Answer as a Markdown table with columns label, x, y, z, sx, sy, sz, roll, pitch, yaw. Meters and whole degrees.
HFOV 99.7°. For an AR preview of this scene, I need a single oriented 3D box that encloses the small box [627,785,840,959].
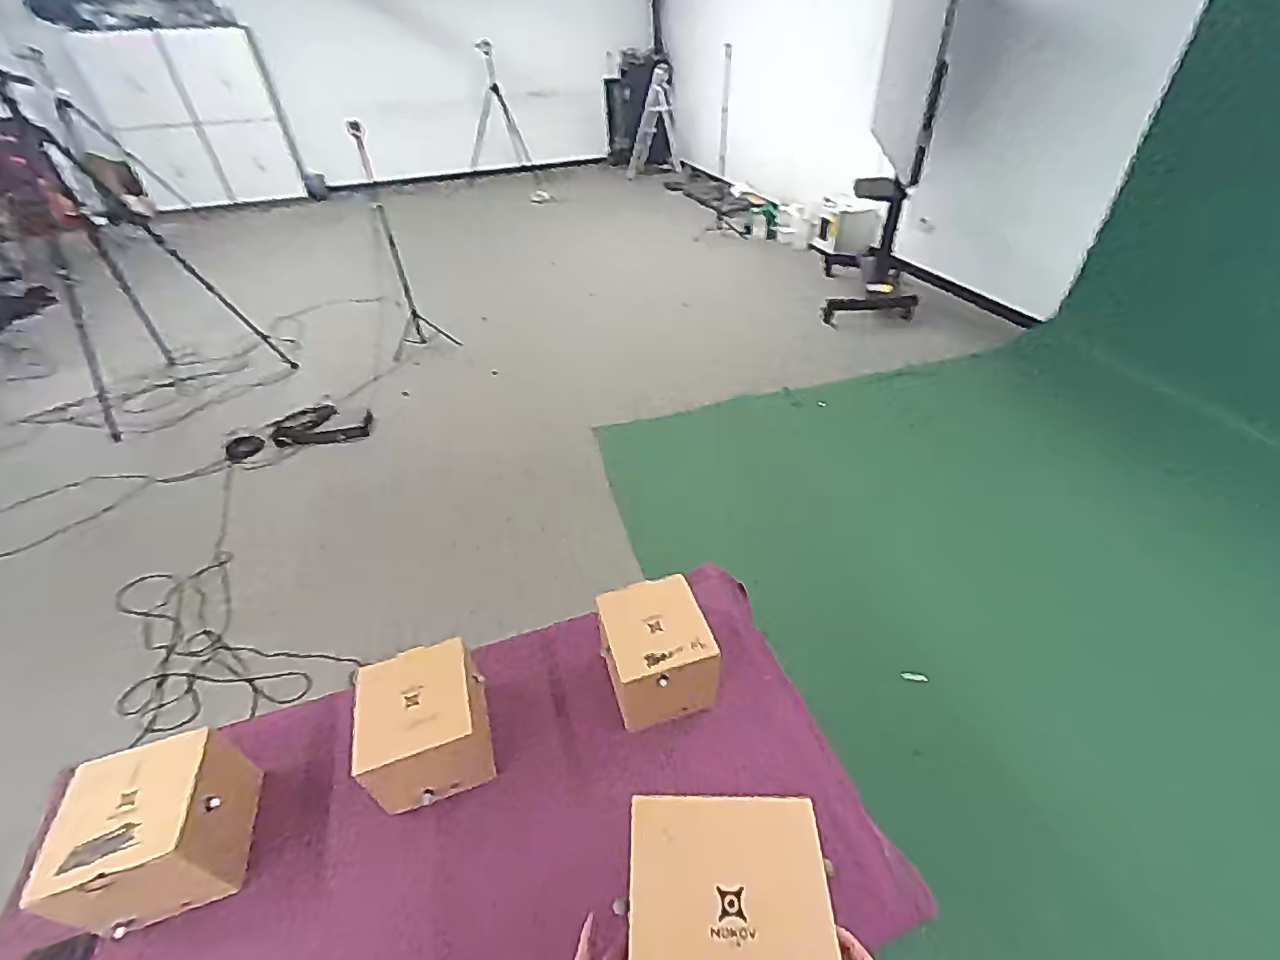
| label | x | y | z | sx | sy | sz | roll | pitch | yaw |
| --- | --- | --- | --- | --- | --- | --- | --- | --- | --- |
| small box | 0.075 | 0.401 | 0.492 | 0.168 | 0.176 | 0.179 | -1 | 46 | 3 |

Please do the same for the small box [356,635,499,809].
| label | x | y | z | sx | sy | sz | roll | pitch | yaw |
| --- | --- | --- | --- | --- | --- | --- | --- | --- | --- |
| small box | -0.337 | 0.389 | 0.876 | 0.168 | 0.176 | 0.179 | -16 | 42 | -12 |

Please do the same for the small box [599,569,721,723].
| label | x | y | z | sx | sy | sz | roll | pitch | yaw |
| --- | --- | --- | --- | --- | --- | --- | --- | --- | --- |
| small box | 0.031 | 0.292 | 0.956 | 0.168 | 0.176 | 0.179 | -15 | 41 | -10 |

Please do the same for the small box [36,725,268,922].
| label | x | y | z | sx | sy | sz | roll | pitch | yaw |
| --- | --- | --- | --- | --- | --- | --- | --- | --- | --- |
| small box | -0.672 | 0.497 | 0.778 | 0.168 | 0.176 | 0.179 | -15 | 41 | -13 |
